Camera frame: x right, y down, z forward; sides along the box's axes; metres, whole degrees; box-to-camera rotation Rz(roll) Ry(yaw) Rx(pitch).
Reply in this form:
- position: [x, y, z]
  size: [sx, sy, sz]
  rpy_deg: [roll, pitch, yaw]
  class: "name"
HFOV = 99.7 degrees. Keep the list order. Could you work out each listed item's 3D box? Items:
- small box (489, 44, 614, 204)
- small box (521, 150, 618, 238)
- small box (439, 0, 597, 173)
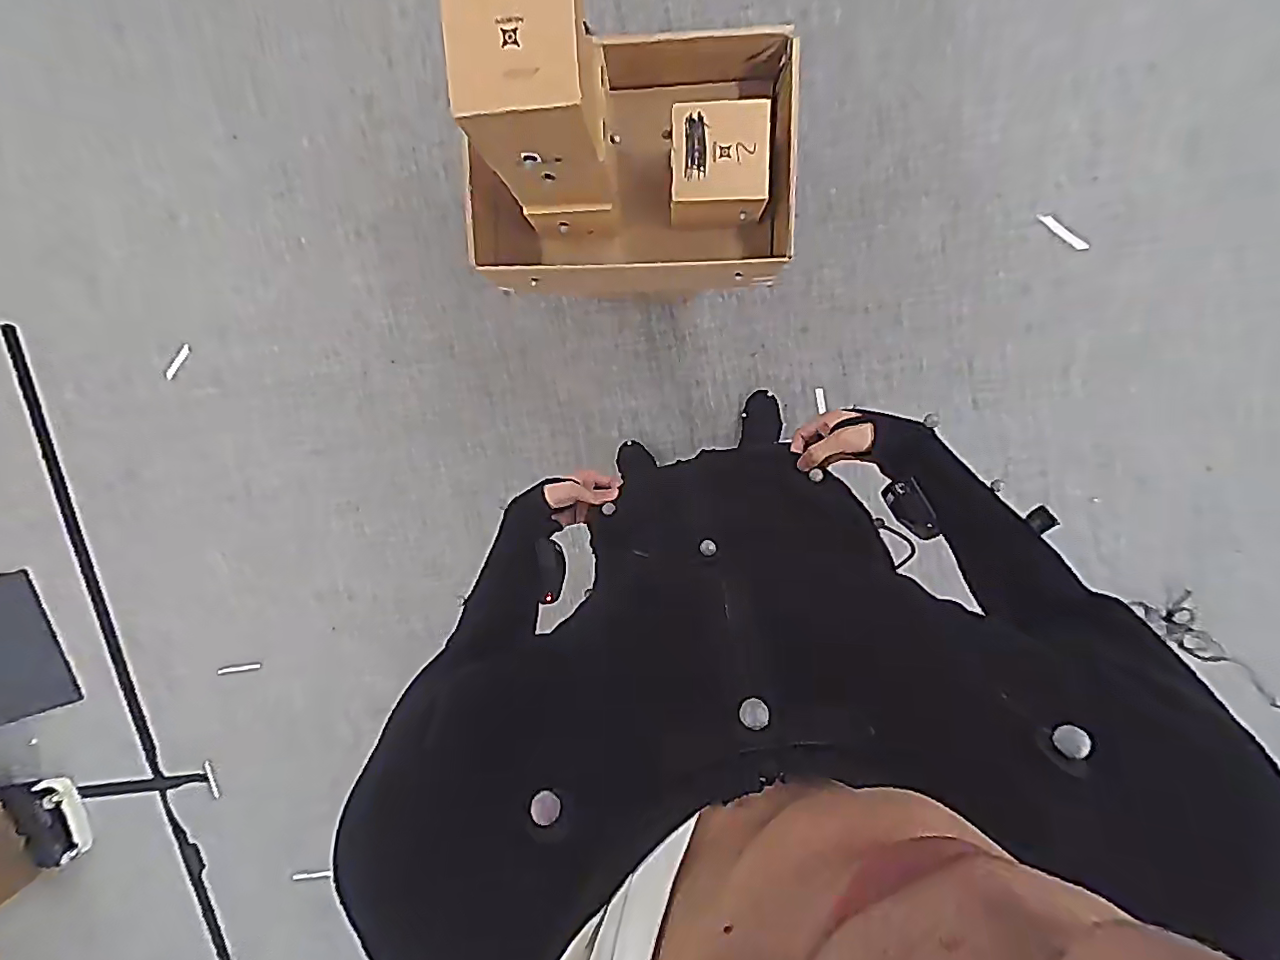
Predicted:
- position: [-0.139, -0.568, 0.885]
  size: [0.179, 0.176, 0.168]
  rpy_deg: [-1, 98, 2]
  class: "small box"
- position: [-0.134, -0.582, 1.049]
  size: [0.168, 0.176, 0.179]
  rpy_deg: [-2, 97, 3]
  class: "small box"
- position: [-0.153, -0.544, 0.723]
  size: [0.168, 0.176, 0.179]
  rpy_deg: [-2, 97, 4]
  class: "small box"
